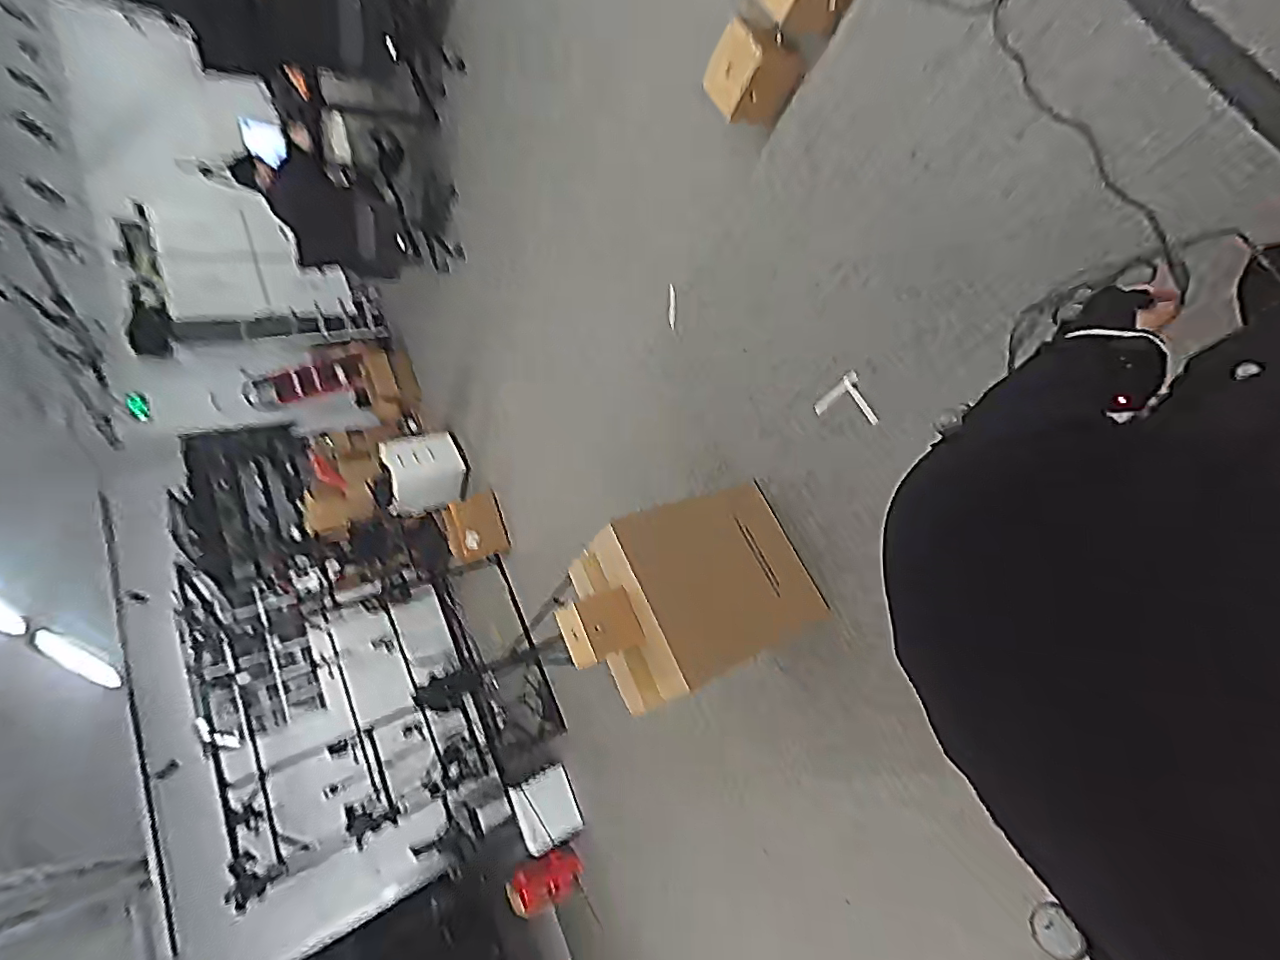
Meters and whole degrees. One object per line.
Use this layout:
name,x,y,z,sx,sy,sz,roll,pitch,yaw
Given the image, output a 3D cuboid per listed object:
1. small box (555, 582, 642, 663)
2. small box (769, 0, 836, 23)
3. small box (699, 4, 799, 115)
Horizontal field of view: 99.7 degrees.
small box,-0.122,0.416,1.602,0.168,0.176,0.179,-44,67,52
small box,0.392,-1.252,1.302,0.179,0.176,0.168,62,145,16
small box,0.299,-1.142,1.483,0.168,0.176,0.179,63,146,15
